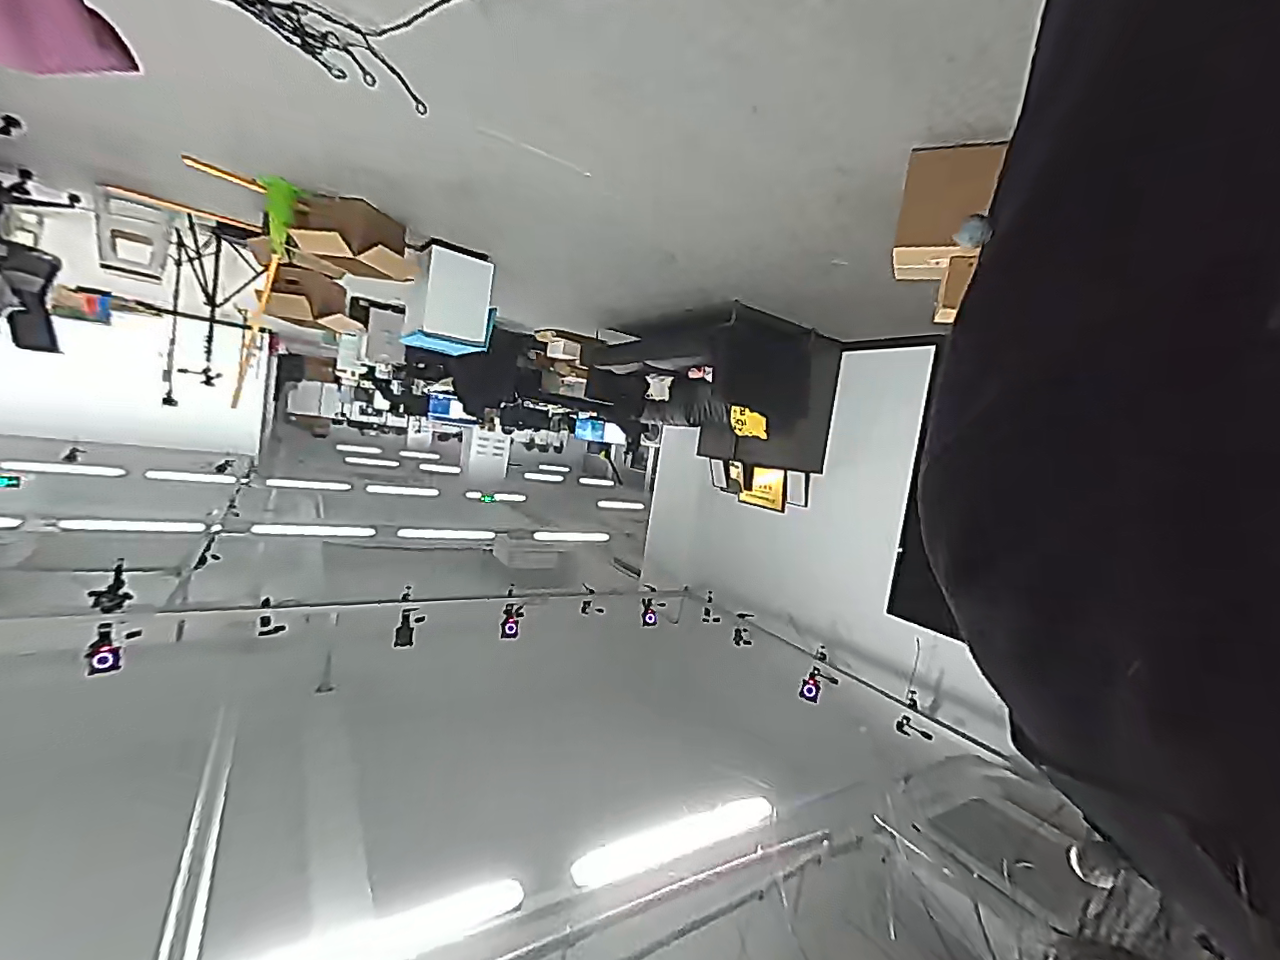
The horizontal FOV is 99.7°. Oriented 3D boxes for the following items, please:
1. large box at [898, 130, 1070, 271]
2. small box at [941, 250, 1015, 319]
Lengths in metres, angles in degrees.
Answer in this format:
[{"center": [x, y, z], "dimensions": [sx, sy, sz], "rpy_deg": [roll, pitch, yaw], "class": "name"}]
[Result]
[{"center": [1.096, -0.885, 1.762], "dimensions": [0.408, 0.320, 0.320], "rpy_deg": [12, -174, 26], "class": "large box"}, {"center": [1.103, -0.638, 1.770], "dimensions": [0.168, 0.176, 0.179], "rpy_deg": [10, -174, 22], "class": "small box"}]
